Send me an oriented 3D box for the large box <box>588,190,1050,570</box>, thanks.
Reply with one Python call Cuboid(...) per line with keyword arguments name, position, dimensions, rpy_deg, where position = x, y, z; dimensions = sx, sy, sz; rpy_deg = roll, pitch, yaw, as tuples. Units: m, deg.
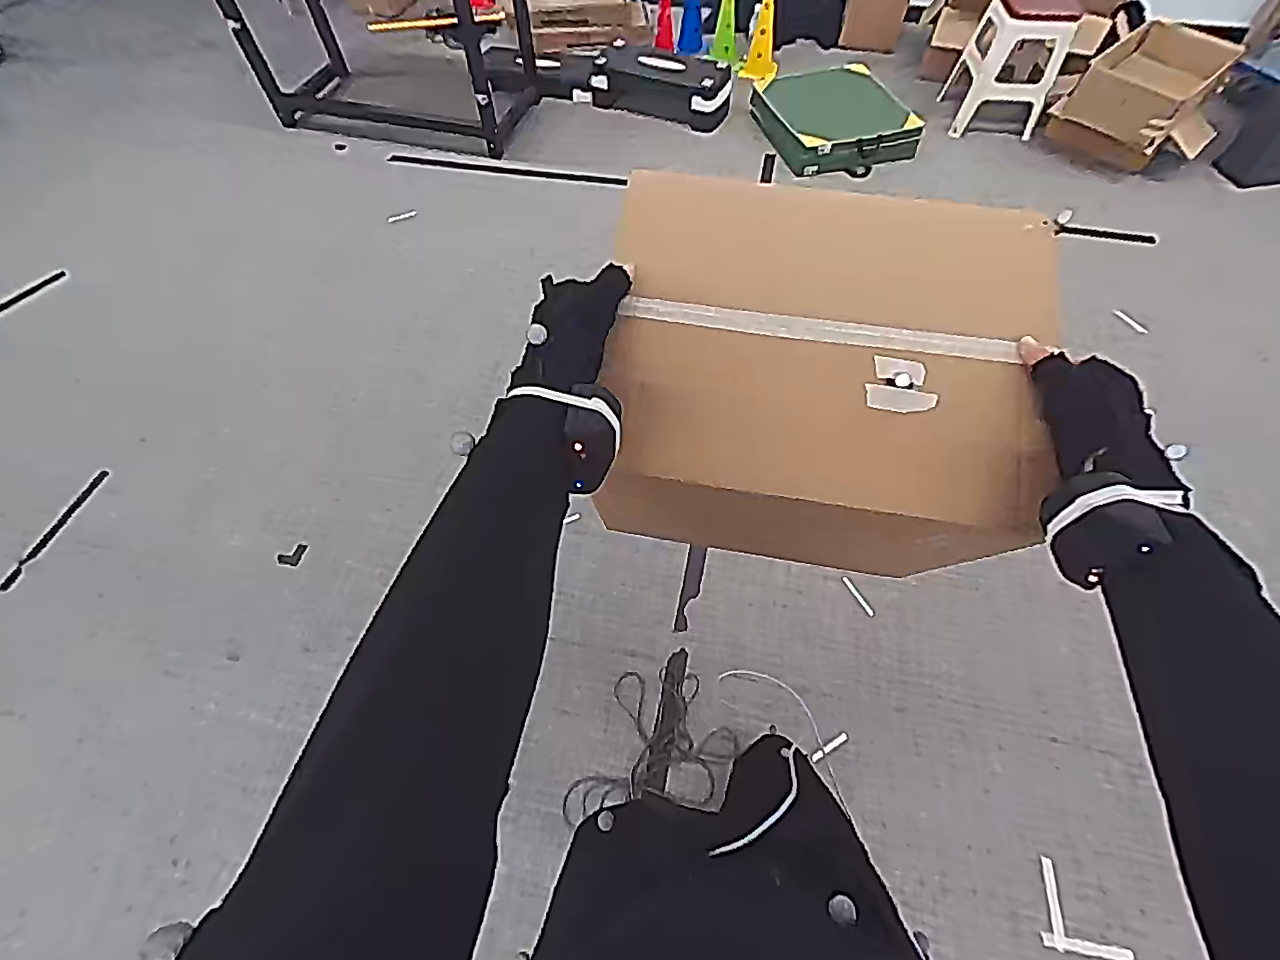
Cuboid(name="large box", position=(0.174, -0.089, 0.647), dimensions=(0.408, 0.320, 0.320), rpy_deg=(9, 76, 5))
